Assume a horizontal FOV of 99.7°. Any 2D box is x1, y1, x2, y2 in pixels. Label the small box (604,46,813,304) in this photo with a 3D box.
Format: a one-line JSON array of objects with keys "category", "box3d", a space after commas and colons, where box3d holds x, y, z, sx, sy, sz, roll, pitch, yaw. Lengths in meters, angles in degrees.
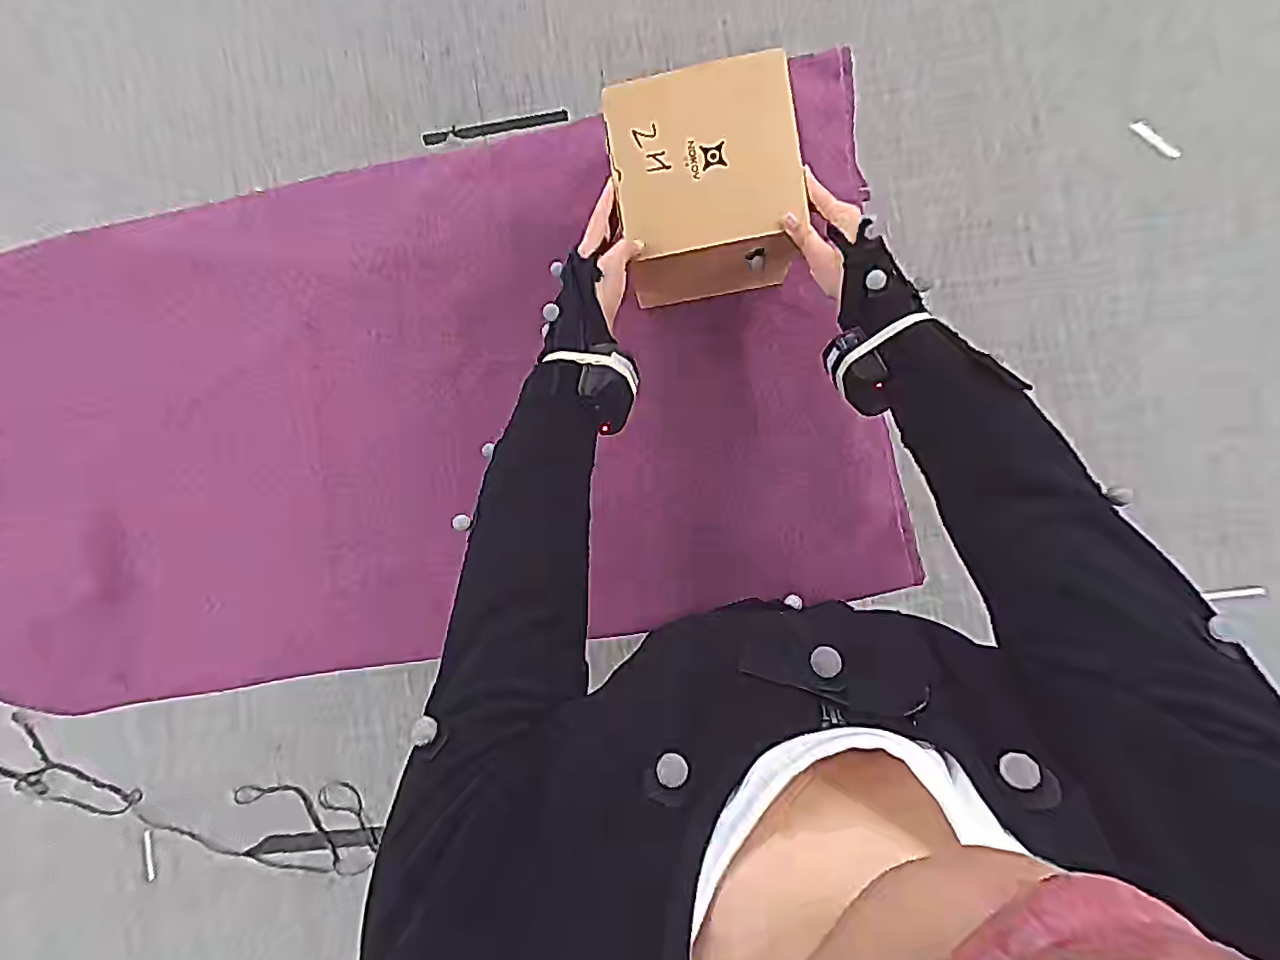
[{"category": "small box", "box3d": [0.068, -0.303, 0.577, 0.179, 0.176, 0.168, -9, 91, 6]}]
